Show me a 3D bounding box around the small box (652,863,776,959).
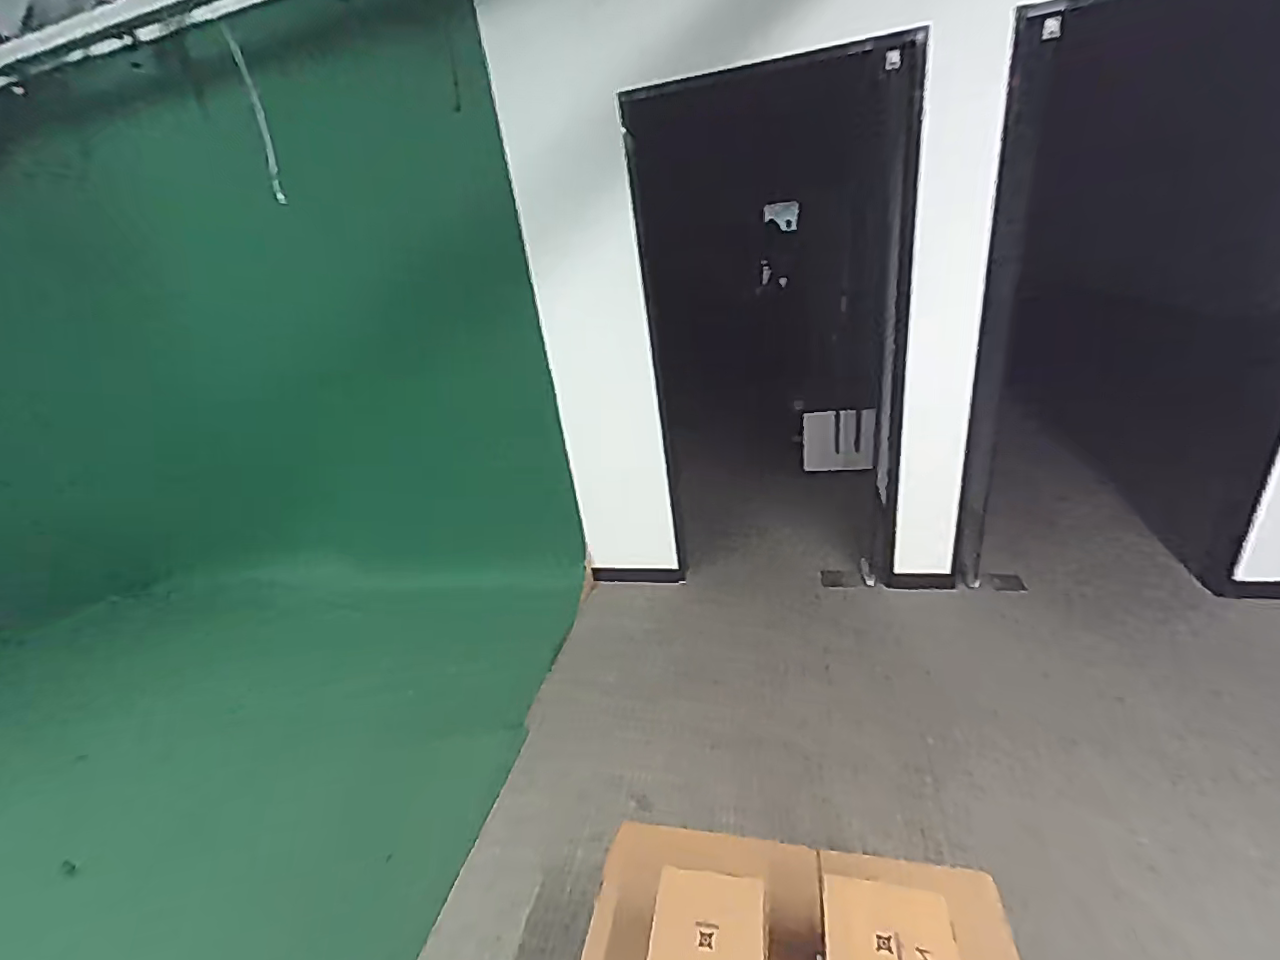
[{"bbox_3d":[0.118,0.736,0.825,0.168,0.176,0.179,-4,23,15],"label":"small box"}]
